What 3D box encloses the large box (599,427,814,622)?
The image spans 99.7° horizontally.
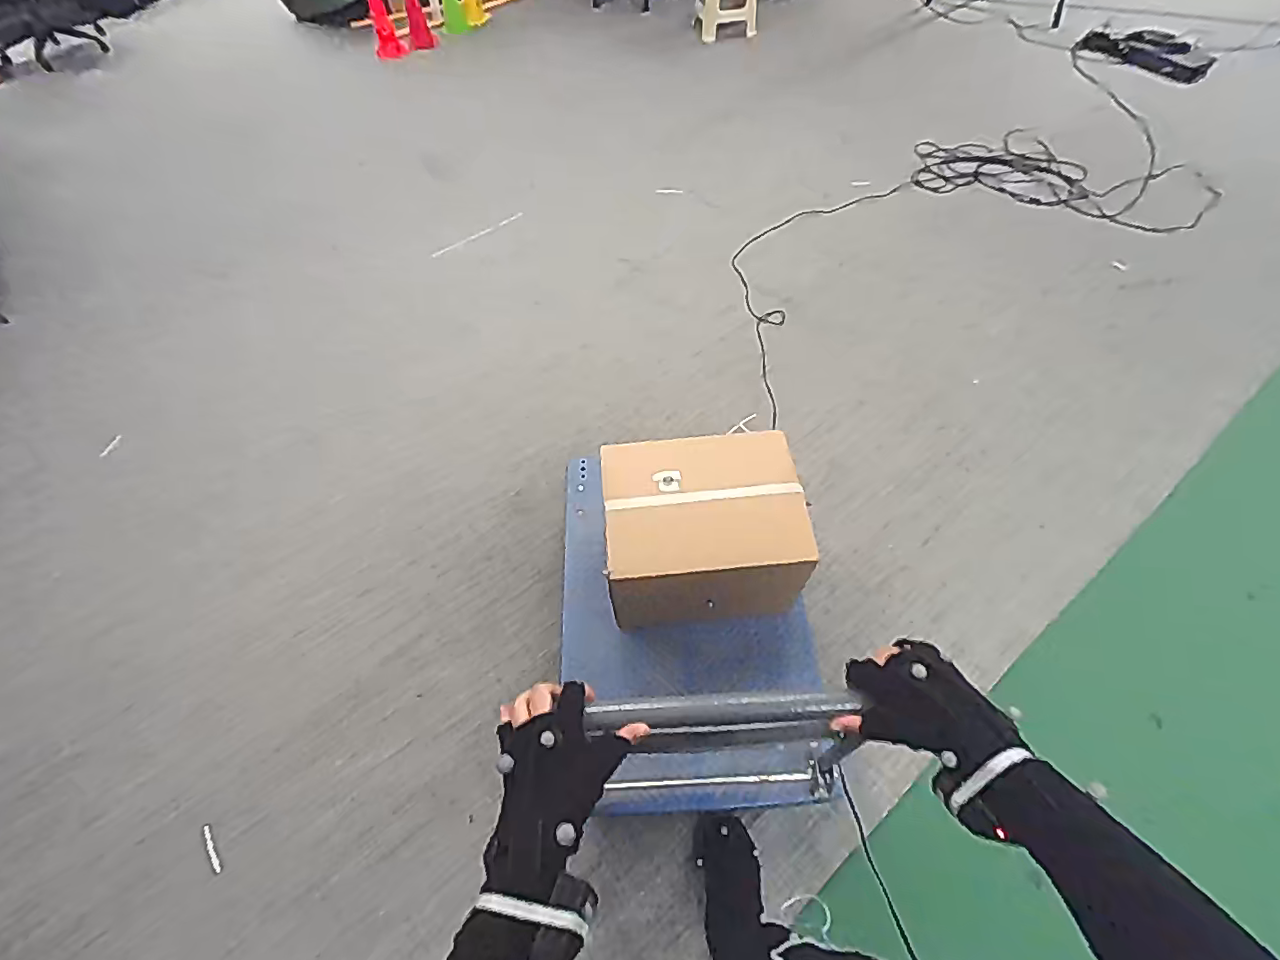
[{"bbox_3d":[0.131,0.113,1.230,0.408,0.320,0.320,-6,57,0],"label":"large box"}]
